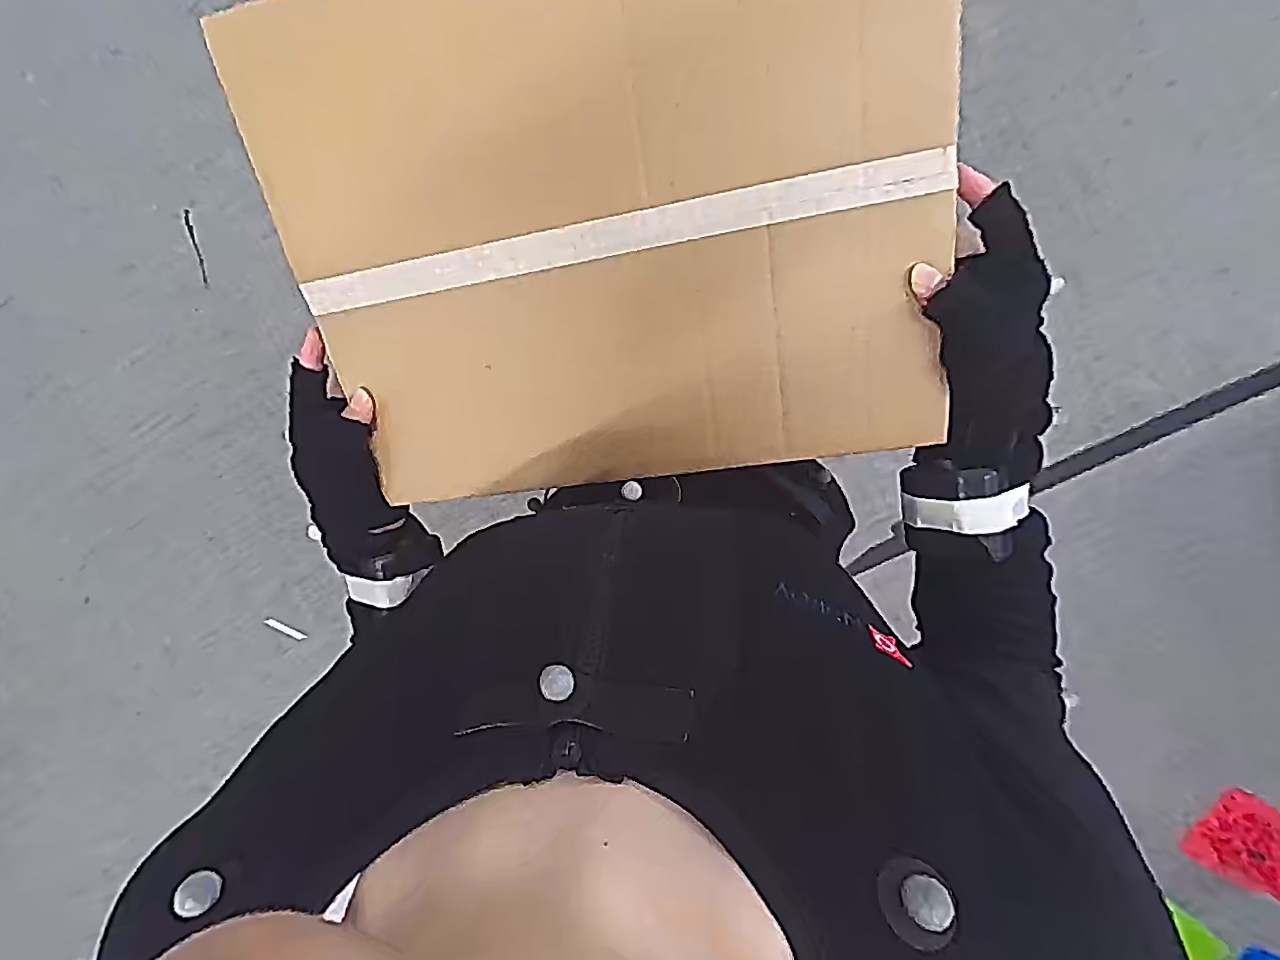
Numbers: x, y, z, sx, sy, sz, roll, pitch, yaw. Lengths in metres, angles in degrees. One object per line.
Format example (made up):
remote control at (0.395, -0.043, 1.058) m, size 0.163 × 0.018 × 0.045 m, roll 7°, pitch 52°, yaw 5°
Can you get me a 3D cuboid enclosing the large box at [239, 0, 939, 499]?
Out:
large box at (-0.008, -0.204, 0.477) m, size 0.408 × 0.320 × 0.320 m, roll -7°, pitch 112°, yaw 11°
